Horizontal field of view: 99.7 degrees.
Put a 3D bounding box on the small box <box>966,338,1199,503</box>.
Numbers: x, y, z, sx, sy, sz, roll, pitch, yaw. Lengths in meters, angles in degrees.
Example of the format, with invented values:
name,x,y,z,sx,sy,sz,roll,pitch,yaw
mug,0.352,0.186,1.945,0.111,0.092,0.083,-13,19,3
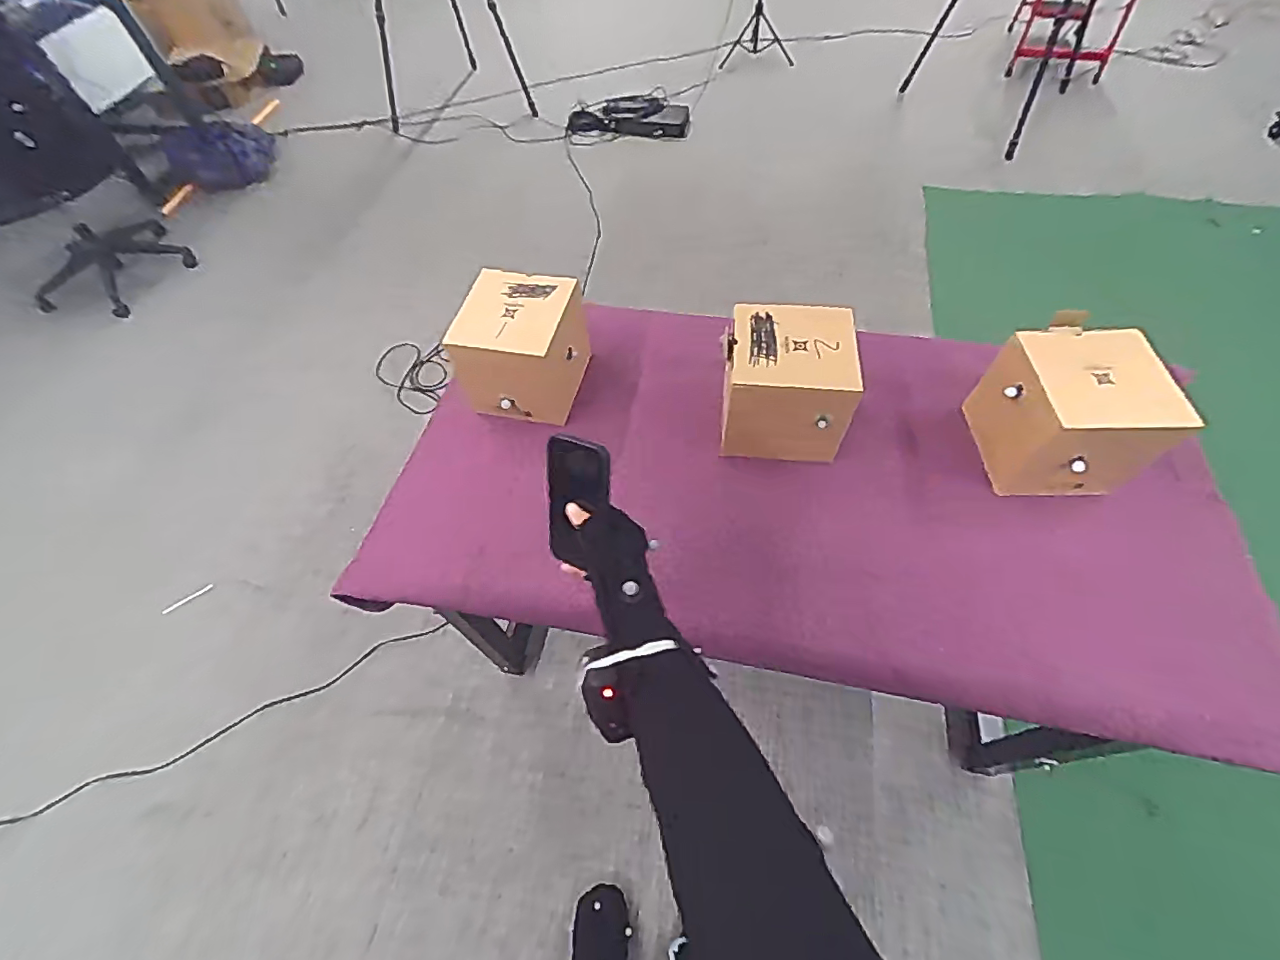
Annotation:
name,x,y,z,sx,sy,sz,roll,pitch,yaw
small box,0.604,-0.078,0.770,0.168,0.176,0.179,0,56,4

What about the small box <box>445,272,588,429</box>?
name,x,y,z,sx,sy,sz,roll,pitch,yaw
small box,-0.189,-0.212,0.897,0.168,0.176,0.179,10,60,9
